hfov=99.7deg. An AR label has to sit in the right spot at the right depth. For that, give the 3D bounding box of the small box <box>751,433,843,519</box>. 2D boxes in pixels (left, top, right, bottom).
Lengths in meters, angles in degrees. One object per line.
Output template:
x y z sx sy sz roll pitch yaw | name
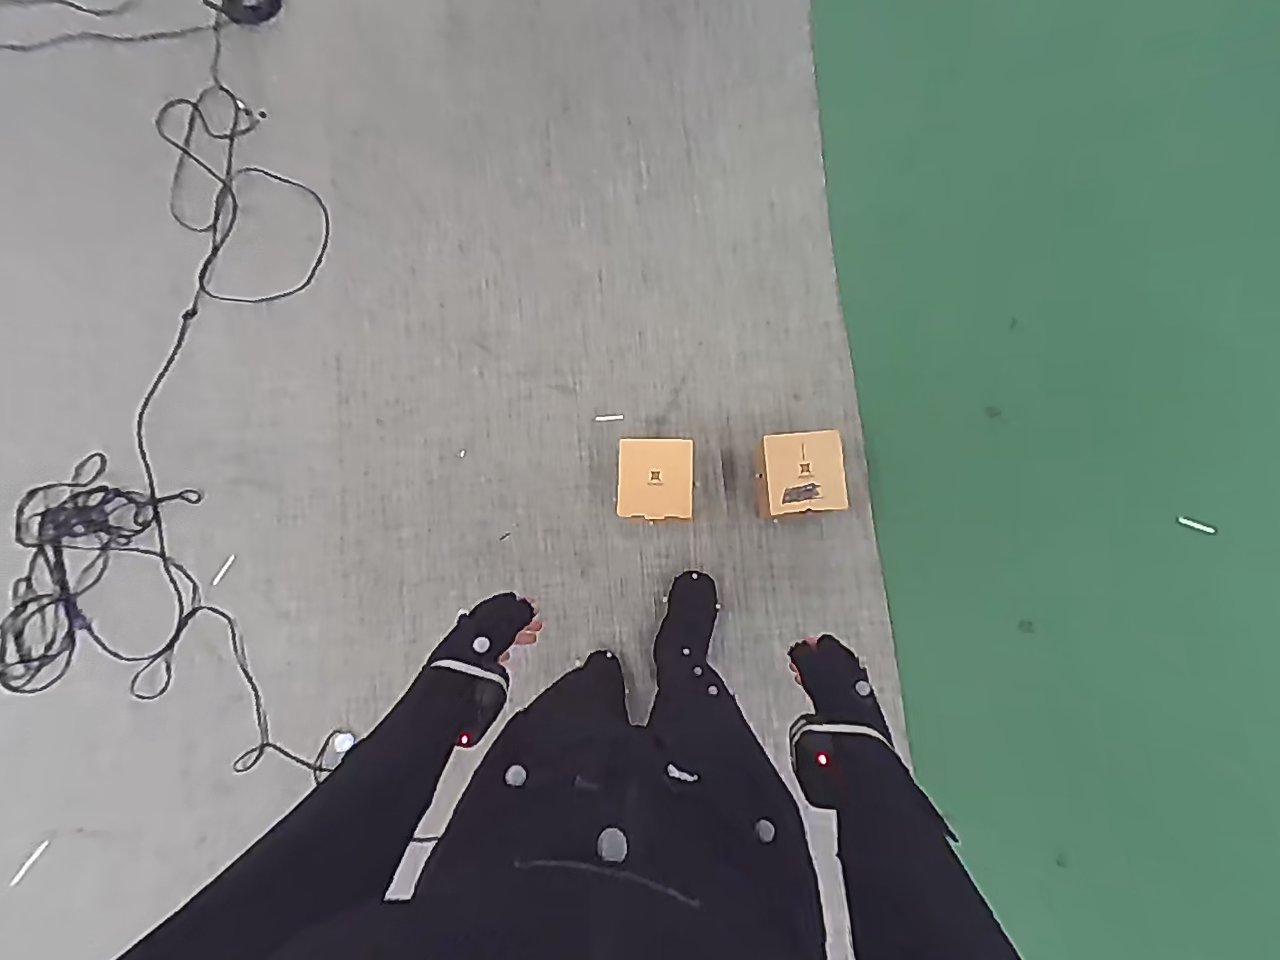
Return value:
0.352 -0.003 1.237 0.168 0.176 0.179 -4 82 4 | small box

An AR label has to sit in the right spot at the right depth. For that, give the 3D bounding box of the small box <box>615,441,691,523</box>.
0.034 0.009 1.264 0.168 0.176 0.179 1 84 5 | small box
